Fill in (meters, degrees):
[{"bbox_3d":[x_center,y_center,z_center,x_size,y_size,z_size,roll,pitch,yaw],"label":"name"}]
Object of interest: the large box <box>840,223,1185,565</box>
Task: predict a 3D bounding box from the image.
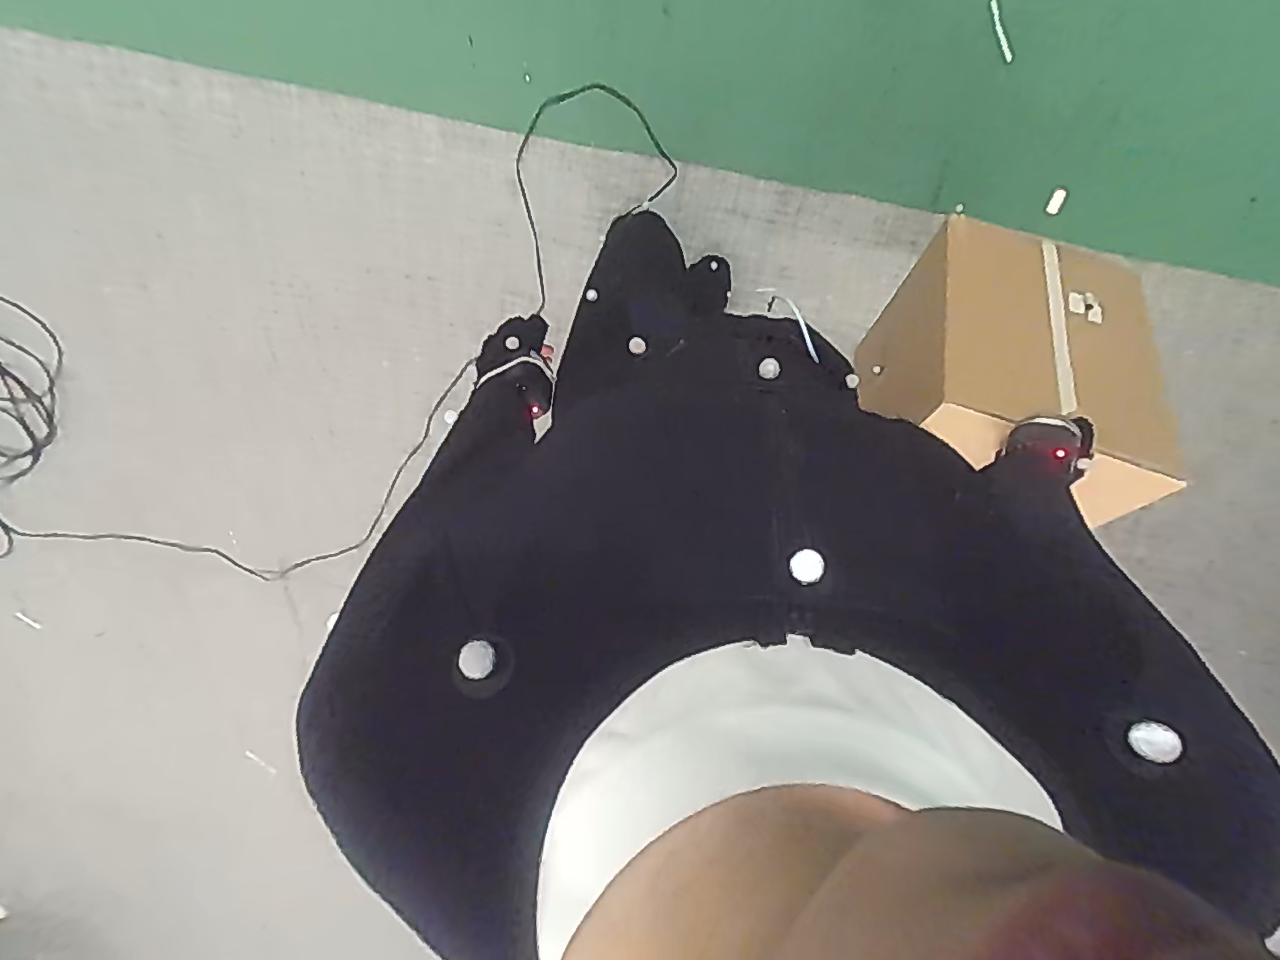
[{"bbox_3d":[0.551,-0.130,0.885,0.320,0.408,0.320,19,149,1],"label":"large box"}]
